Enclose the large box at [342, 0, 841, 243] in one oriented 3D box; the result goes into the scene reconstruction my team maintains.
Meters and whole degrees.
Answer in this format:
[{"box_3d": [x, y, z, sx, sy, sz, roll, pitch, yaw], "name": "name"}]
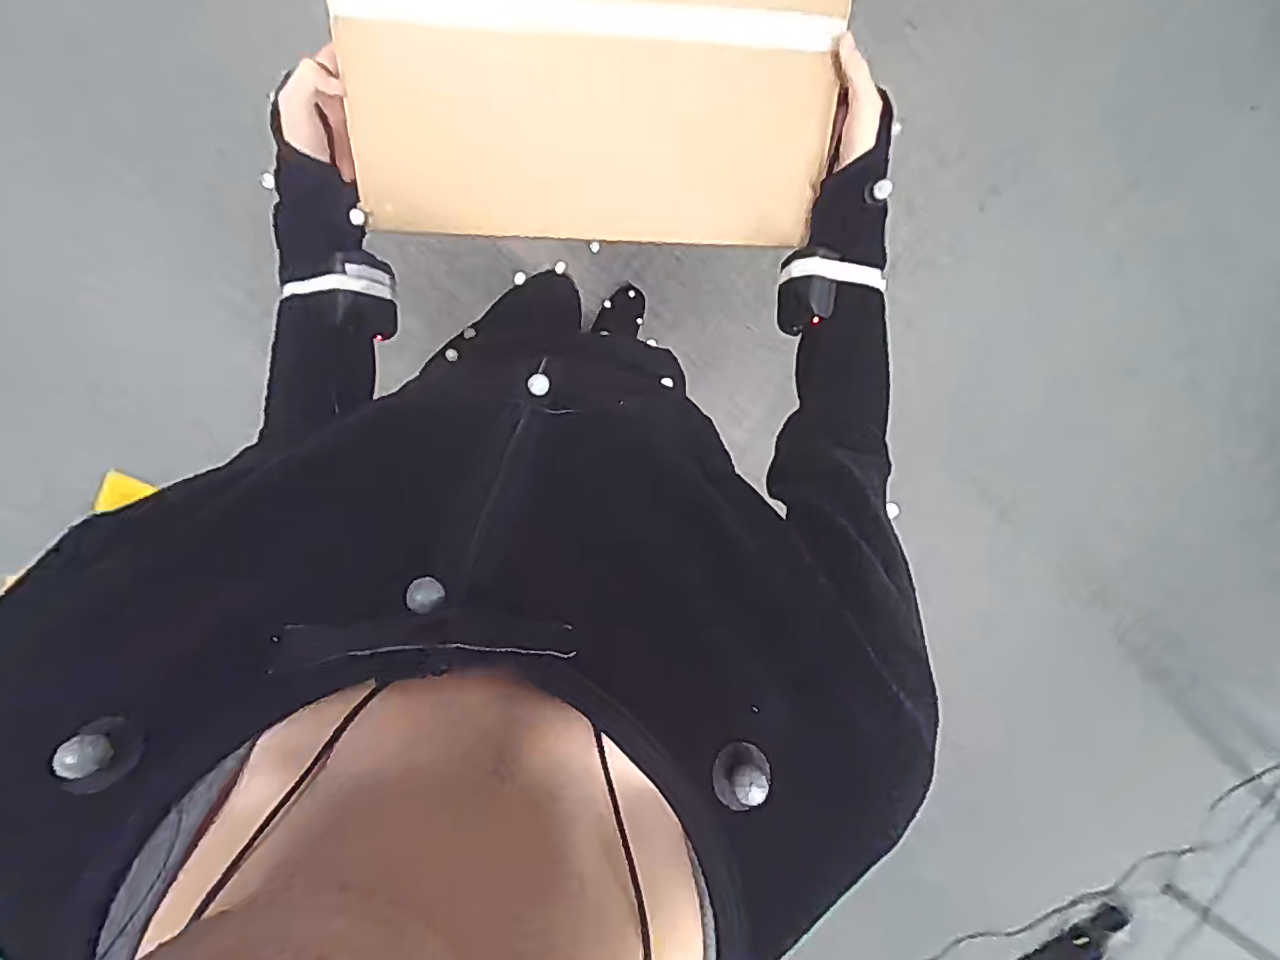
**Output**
[{"box_3d": [-0.044, -0.430, 0.570, 0.408, 0.320, 0.320, -1, 115, -5], "name": "large box"}]
